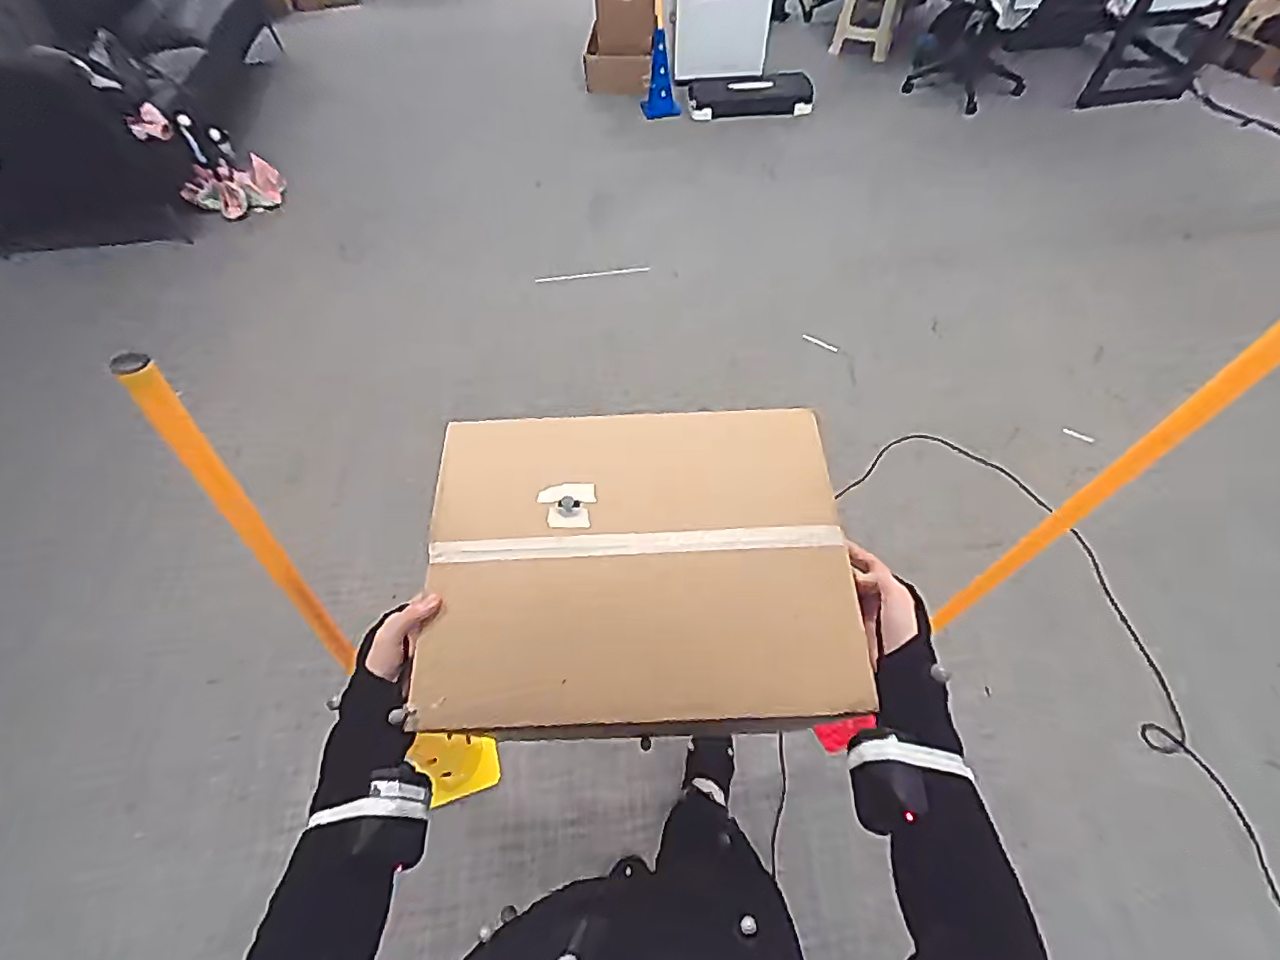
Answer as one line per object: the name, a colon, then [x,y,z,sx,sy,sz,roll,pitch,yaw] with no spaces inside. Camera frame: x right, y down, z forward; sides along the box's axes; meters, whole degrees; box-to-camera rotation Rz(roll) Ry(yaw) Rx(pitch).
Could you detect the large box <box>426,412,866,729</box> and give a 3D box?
large box: [0.005,0.135,0.681,0.408,0.320,0.320,-2,63,1]
